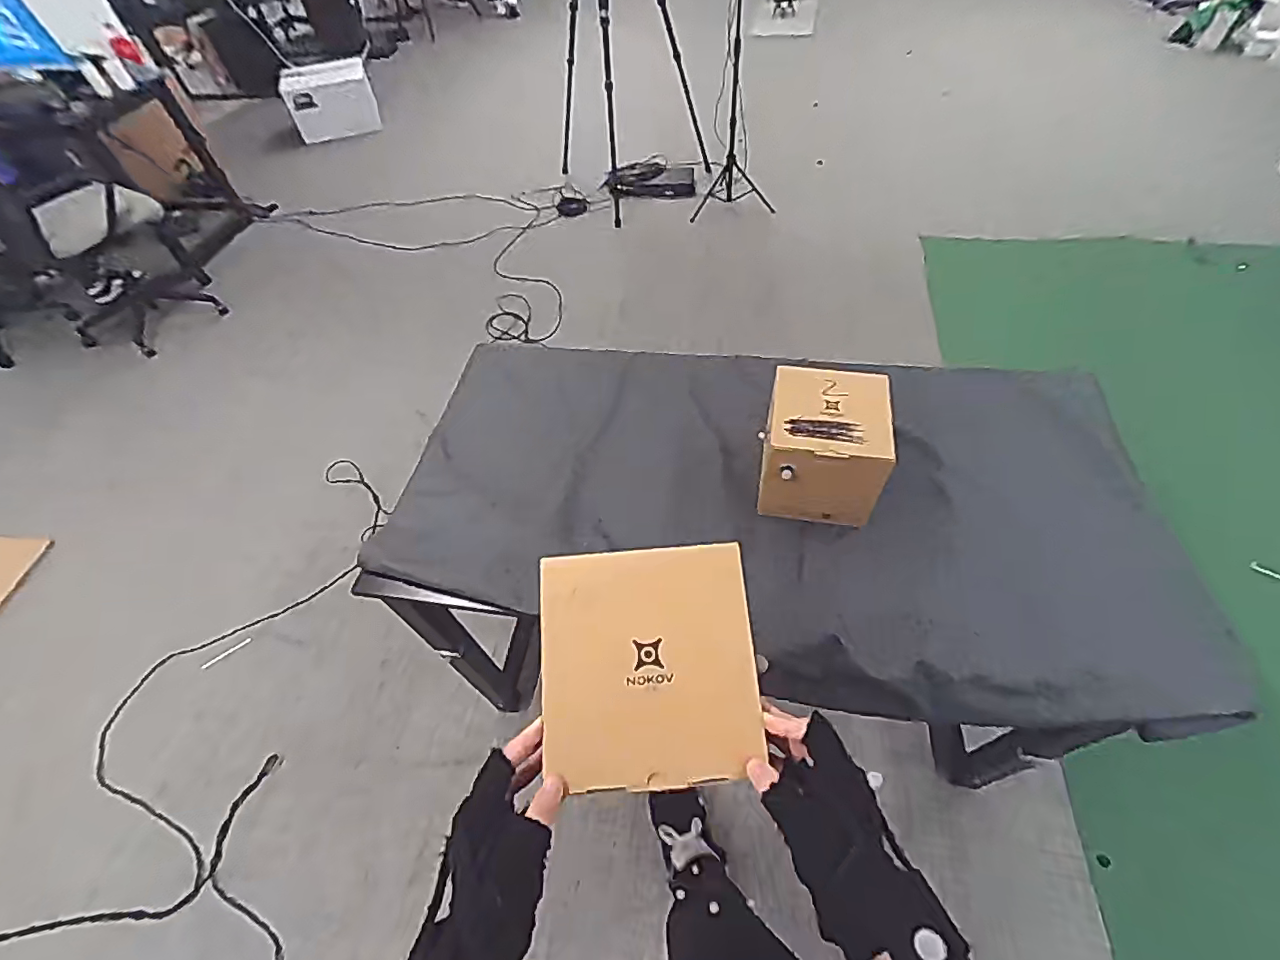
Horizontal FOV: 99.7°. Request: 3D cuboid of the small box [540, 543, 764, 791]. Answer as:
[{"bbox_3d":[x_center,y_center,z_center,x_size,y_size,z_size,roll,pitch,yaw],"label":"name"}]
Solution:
[{"bbox_3d":[0.004,0.165,0.493,0.168,0.176,0.179,-4,71,-1],"label":"small box"}]
